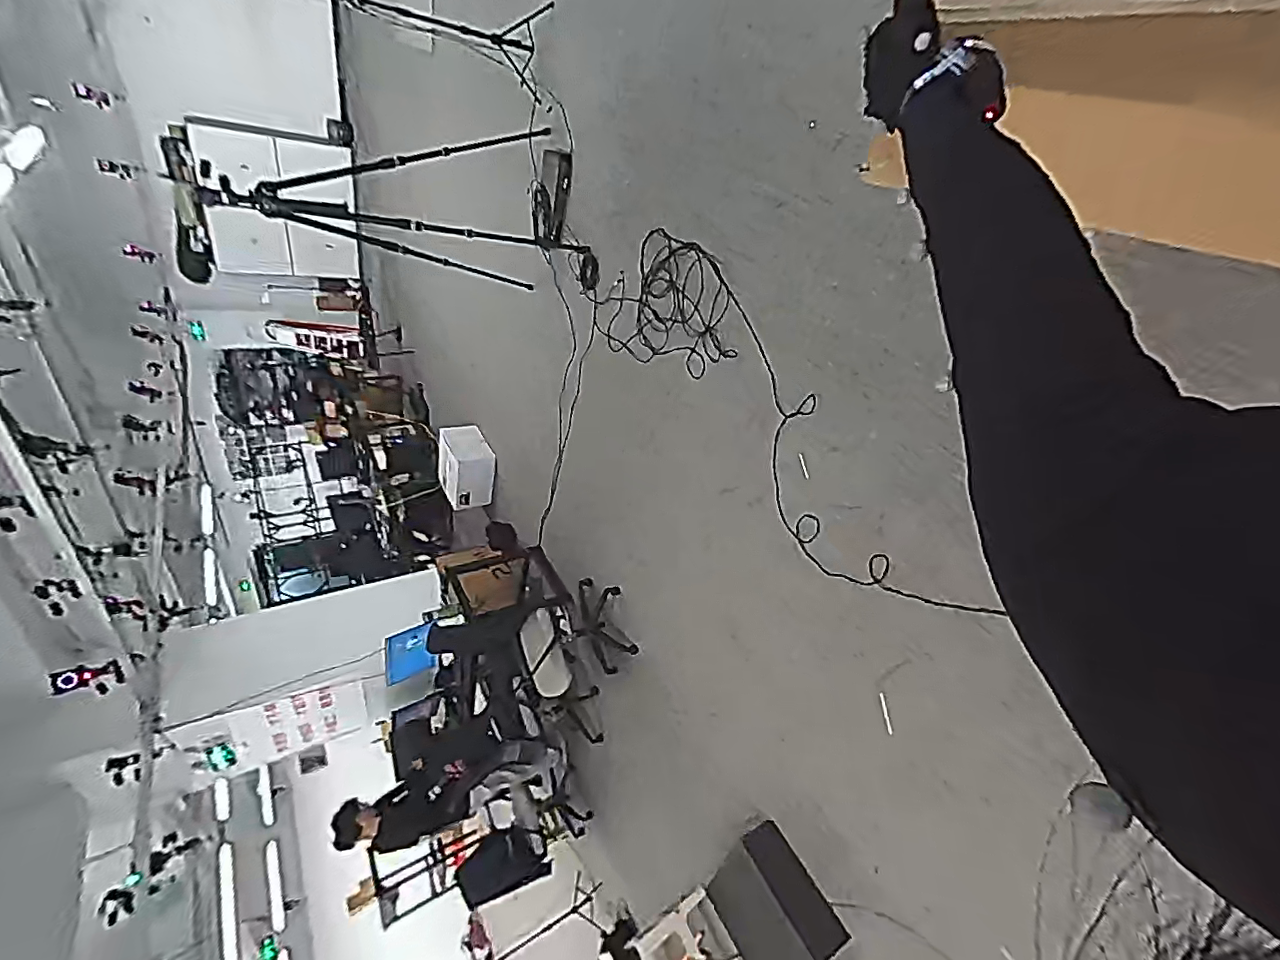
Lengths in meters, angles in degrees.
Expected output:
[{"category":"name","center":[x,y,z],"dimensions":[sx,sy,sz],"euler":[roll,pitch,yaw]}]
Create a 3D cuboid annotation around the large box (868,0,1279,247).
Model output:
[{"category":"large box","center":[0.517,-0.422,0.505],"dimensions":[0.408,0.320,0.320],"euler":[44,138,42]}]
